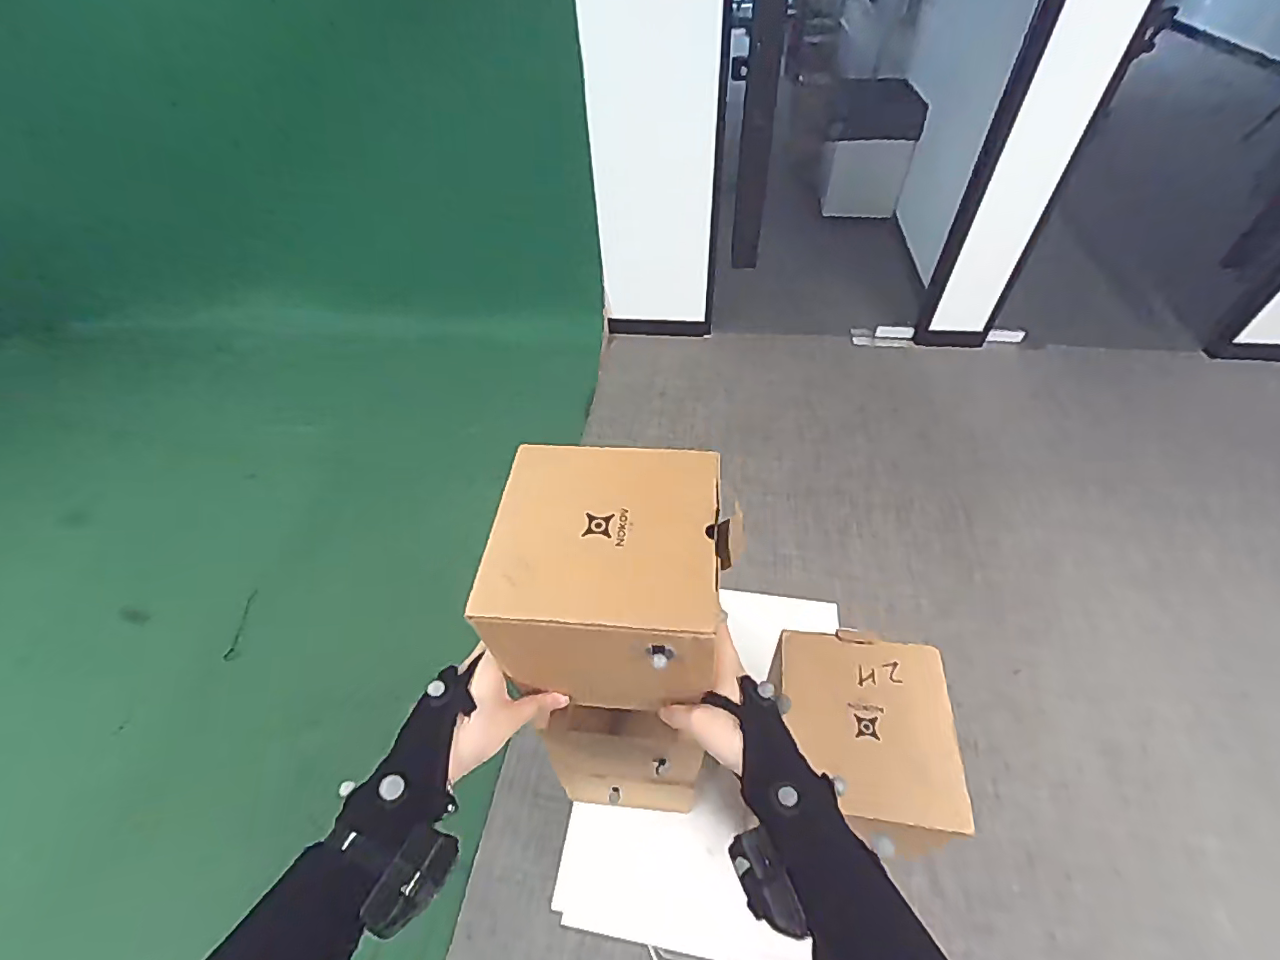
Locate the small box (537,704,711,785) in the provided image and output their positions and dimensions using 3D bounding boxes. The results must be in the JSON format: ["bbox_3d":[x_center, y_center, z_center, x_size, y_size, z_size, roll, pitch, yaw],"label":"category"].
[{"bbox_3d":[-0.011,0.253,0.648,0.179,0.176,0.168,2,48,4],"label":"small box"}]

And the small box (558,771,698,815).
[{"bbox_3d":[-0.007,0.363,0.770,0.179,0.176,0.168,4,49,4],"label":"small box"}]

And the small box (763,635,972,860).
[{"bbox_3d":[0.230,0.296,0.595,0.168,0.176,0.179,6,50,9],"label":"small box"}]

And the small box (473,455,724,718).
[{"bbox_3d":[-0.019,0.096,0.478,0.179,0.176,0.168,3,49,5],"label":"small box"}]
